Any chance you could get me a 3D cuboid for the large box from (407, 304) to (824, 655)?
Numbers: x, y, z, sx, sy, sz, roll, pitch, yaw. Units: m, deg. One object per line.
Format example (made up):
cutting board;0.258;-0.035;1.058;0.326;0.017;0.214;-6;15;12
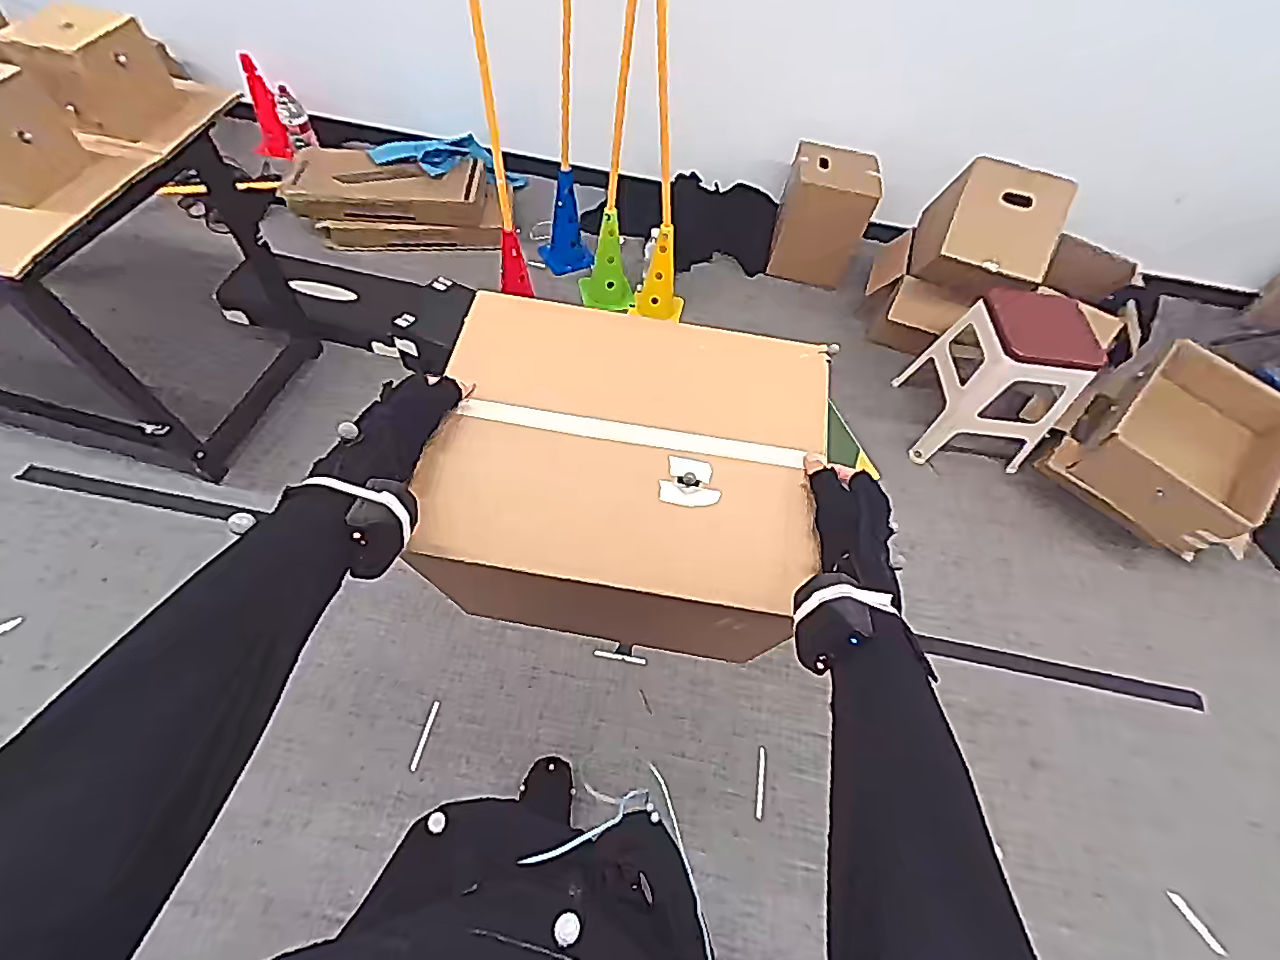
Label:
large box;-0.014;0.021;0.704;0.408;0.320;0.320;10;66;1
